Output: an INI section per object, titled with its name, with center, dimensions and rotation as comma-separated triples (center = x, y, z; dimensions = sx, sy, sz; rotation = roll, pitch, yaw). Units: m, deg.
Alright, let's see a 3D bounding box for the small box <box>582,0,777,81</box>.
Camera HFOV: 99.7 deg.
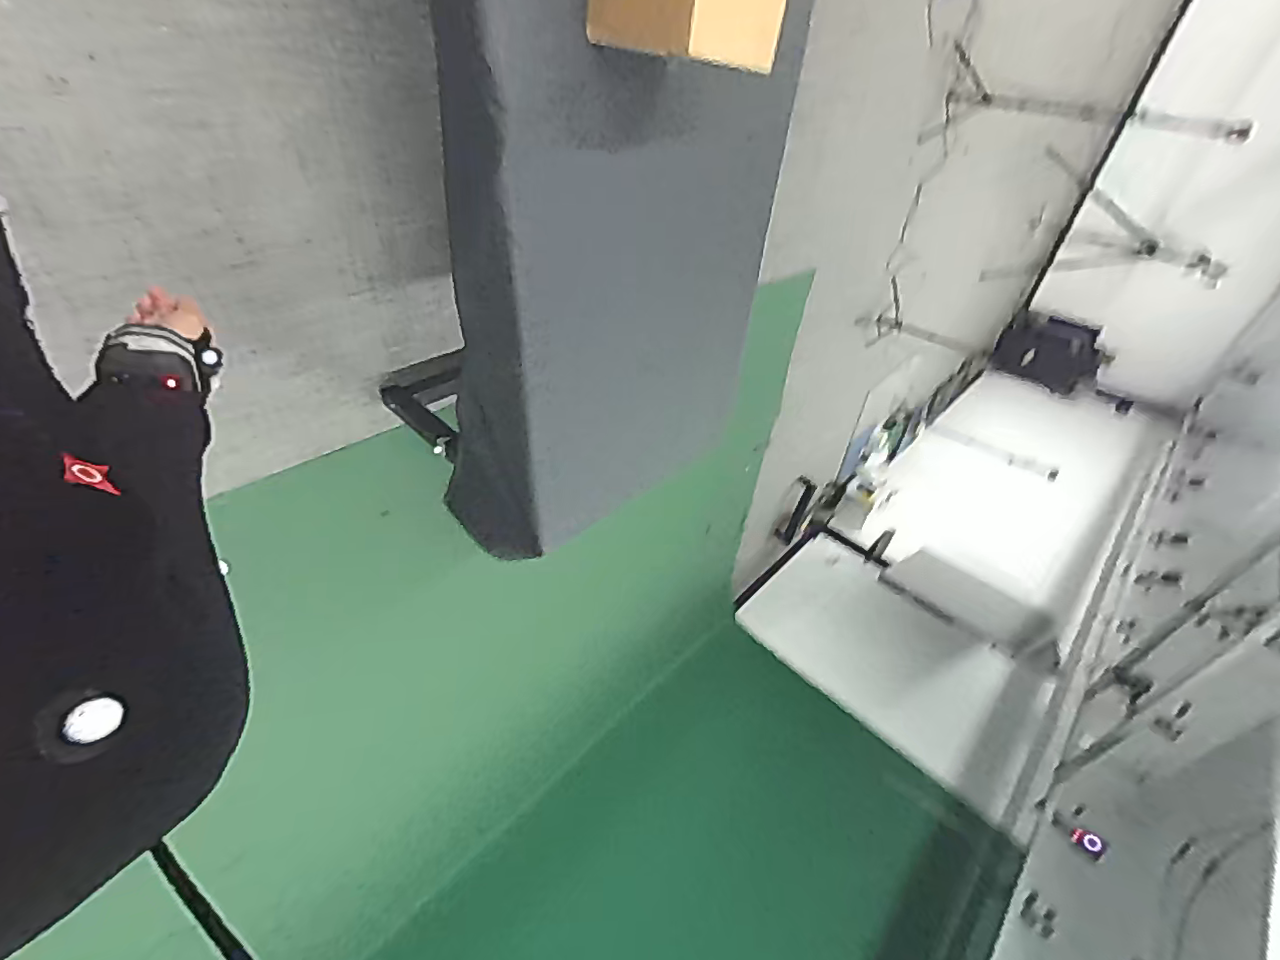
[small box]
center = 0.049, -0.590, 0.627
dimensions = 0.168, 0.176, 0.179
rotation = -28, 139, -40
